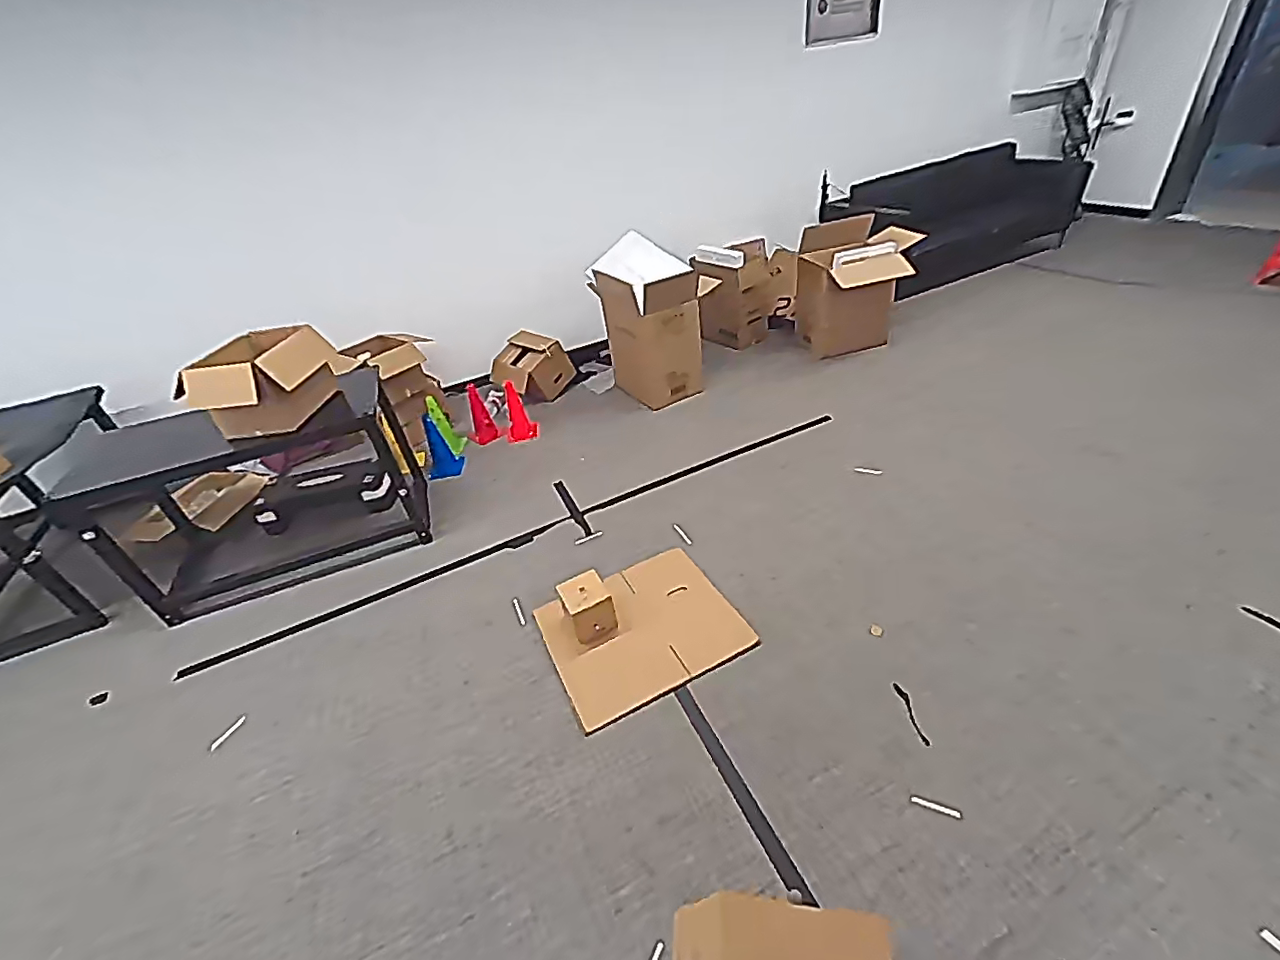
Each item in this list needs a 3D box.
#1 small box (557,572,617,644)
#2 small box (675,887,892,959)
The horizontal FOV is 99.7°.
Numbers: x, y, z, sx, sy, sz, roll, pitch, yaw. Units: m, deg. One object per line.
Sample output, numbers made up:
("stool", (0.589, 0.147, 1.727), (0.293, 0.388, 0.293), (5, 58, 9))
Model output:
("small box", (-0.203, 0.496, 2.089), (0.168, 0.176, 0.179), (-23, 37, -17))
("small box", (0.130, 0.520, 0.520), (0.179, 0.176, 0.168), (14, 44, -5))
